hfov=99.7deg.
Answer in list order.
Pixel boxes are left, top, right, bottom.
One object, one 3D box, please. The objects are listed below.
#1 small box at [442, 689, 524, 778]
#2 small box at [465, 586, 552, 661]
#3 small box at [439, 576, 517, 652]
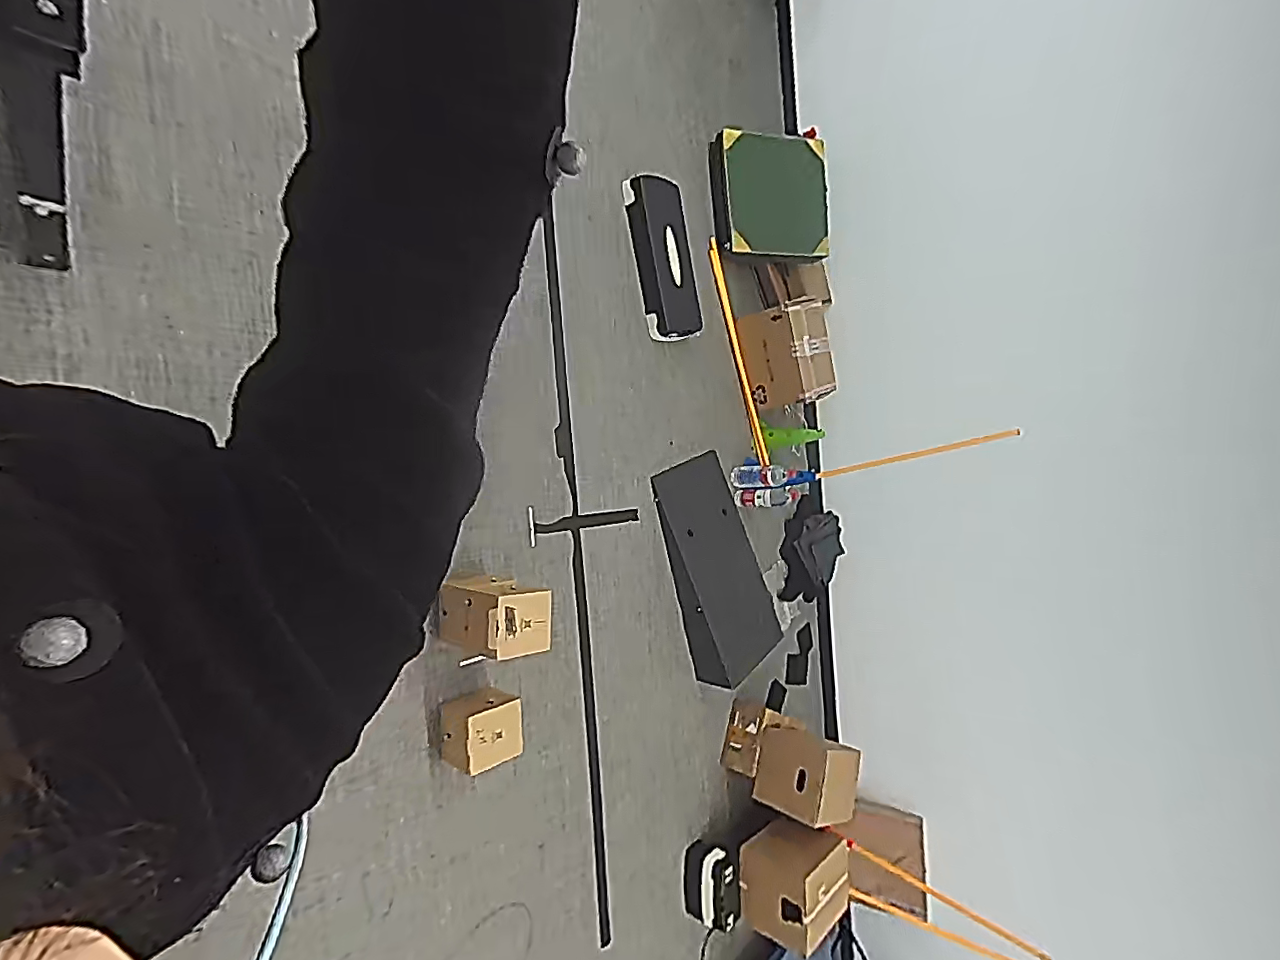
[{"bbox_3d":[-0.464,0.736,1.595,0.179,0.176,0.168,-2,89,-47],"label":"small box"},{"bbox_3d":[-0.361,0.386,1.482,0.179,0.176,0.168,5,84,-47],"label":"small box"},{"bbox_3d":[-0.479,0.388,1.599,0.168,0.176,0.179,-2,90,-47],"label":"small box"}]
